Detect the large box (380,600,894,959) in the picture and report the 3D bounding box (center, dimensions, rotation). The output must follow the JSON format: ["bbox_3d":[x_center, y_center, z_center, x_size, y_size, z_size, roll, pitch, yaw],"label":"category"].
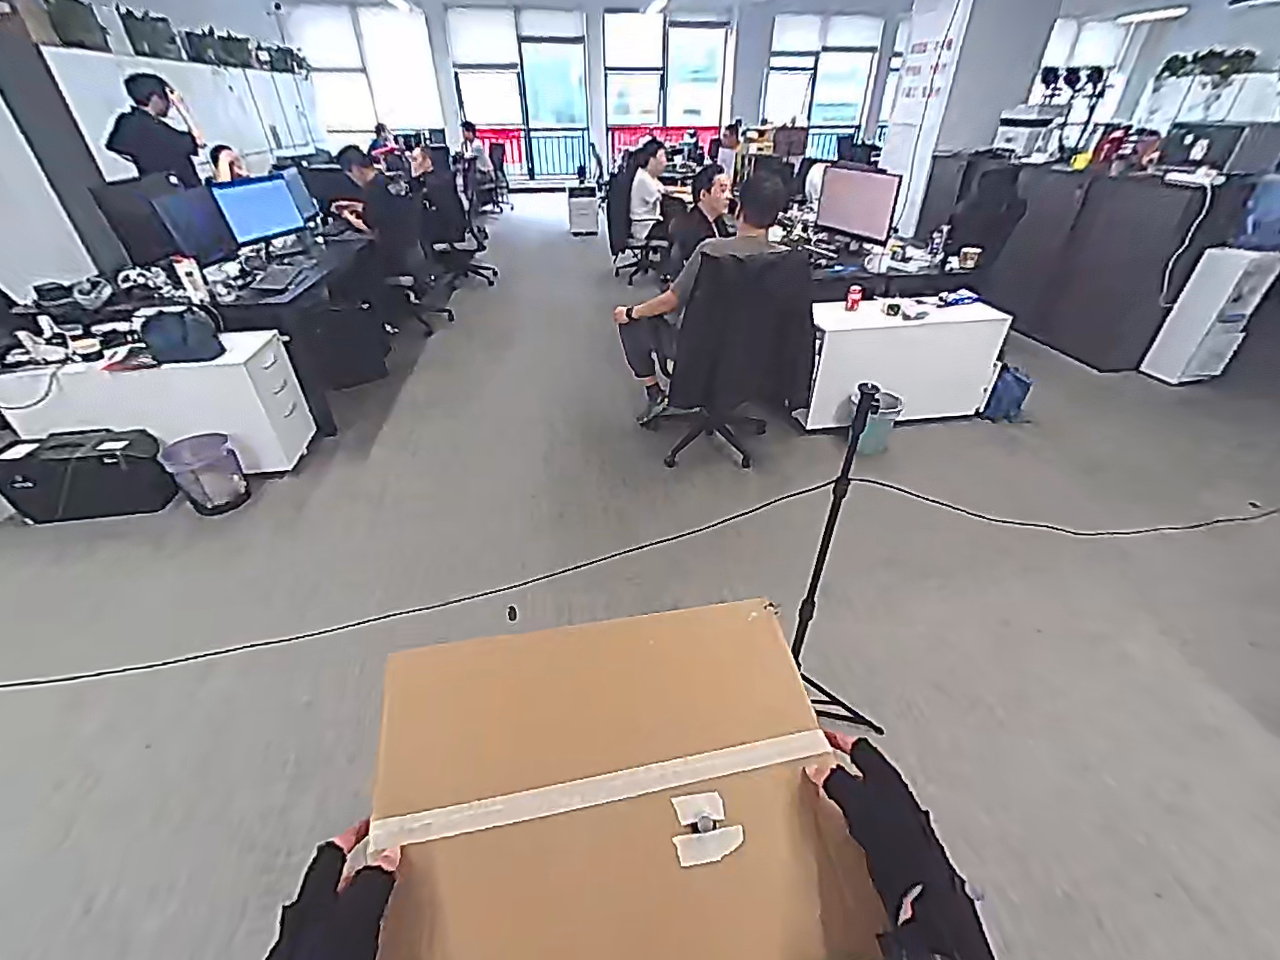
[{"bbox_3d":[-0.030,0.370,0.598,0.408,0.320,0.320,-5,49,-11],"label":"large box"}]
